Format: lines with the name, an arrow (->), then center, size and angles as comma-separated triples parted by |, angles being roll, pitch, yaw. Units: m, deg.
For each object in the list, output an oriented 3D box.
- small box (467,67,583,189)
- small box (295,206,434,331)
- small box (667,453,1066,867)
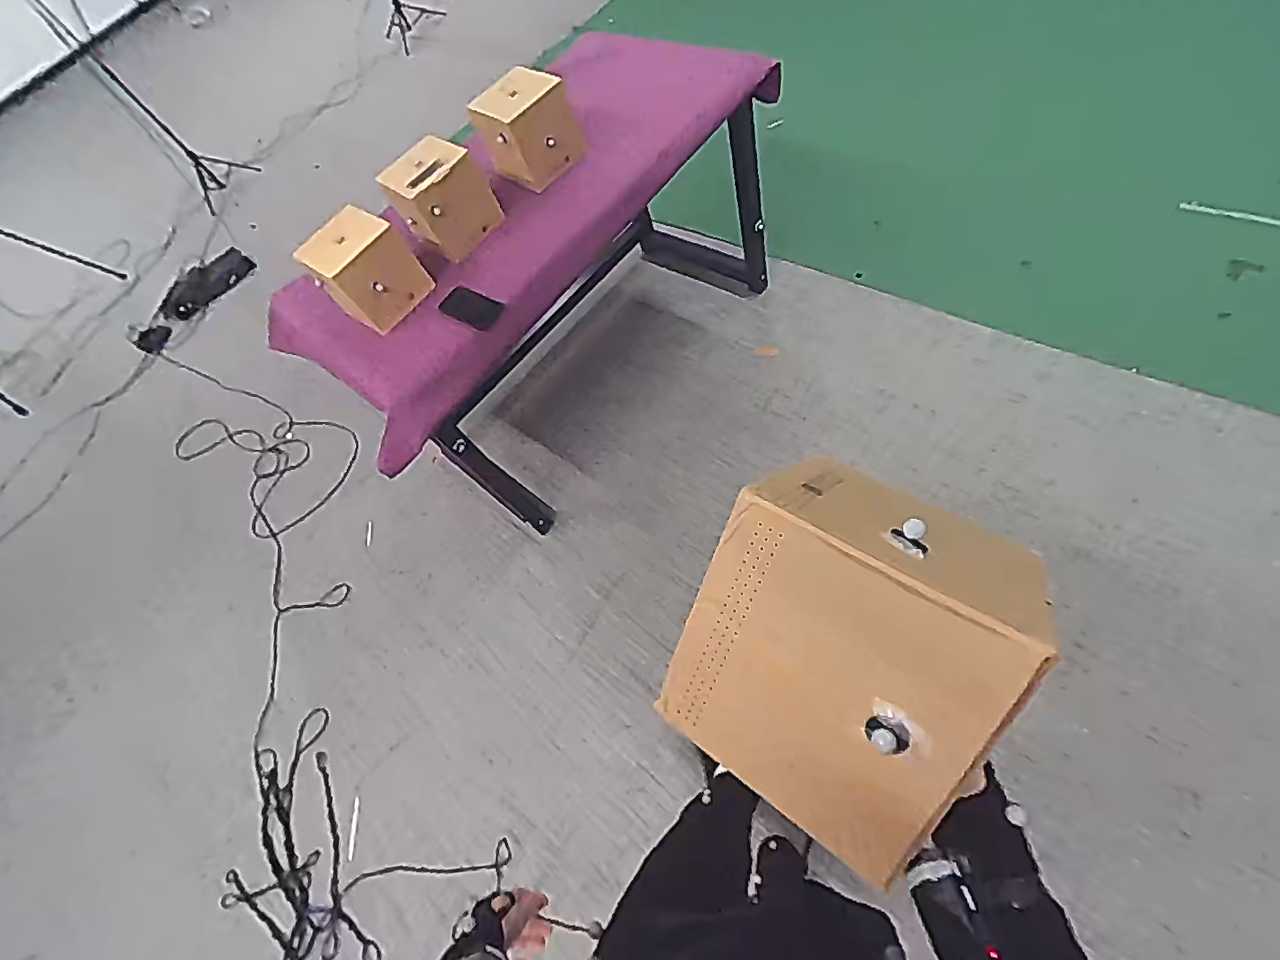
small box -> -0.261, -0.820, 1.269 | 0.168, 0.176, 0.179 | -46, 59, -10
small box -> -0.587, -0.452, 1.173 | 0.179, 0.176, 0.168 | 31, 75, 29
small box -> 0.141, 0.090, 0.366 | 0.176, 0.168, 0.179 | 30, 114, 28
